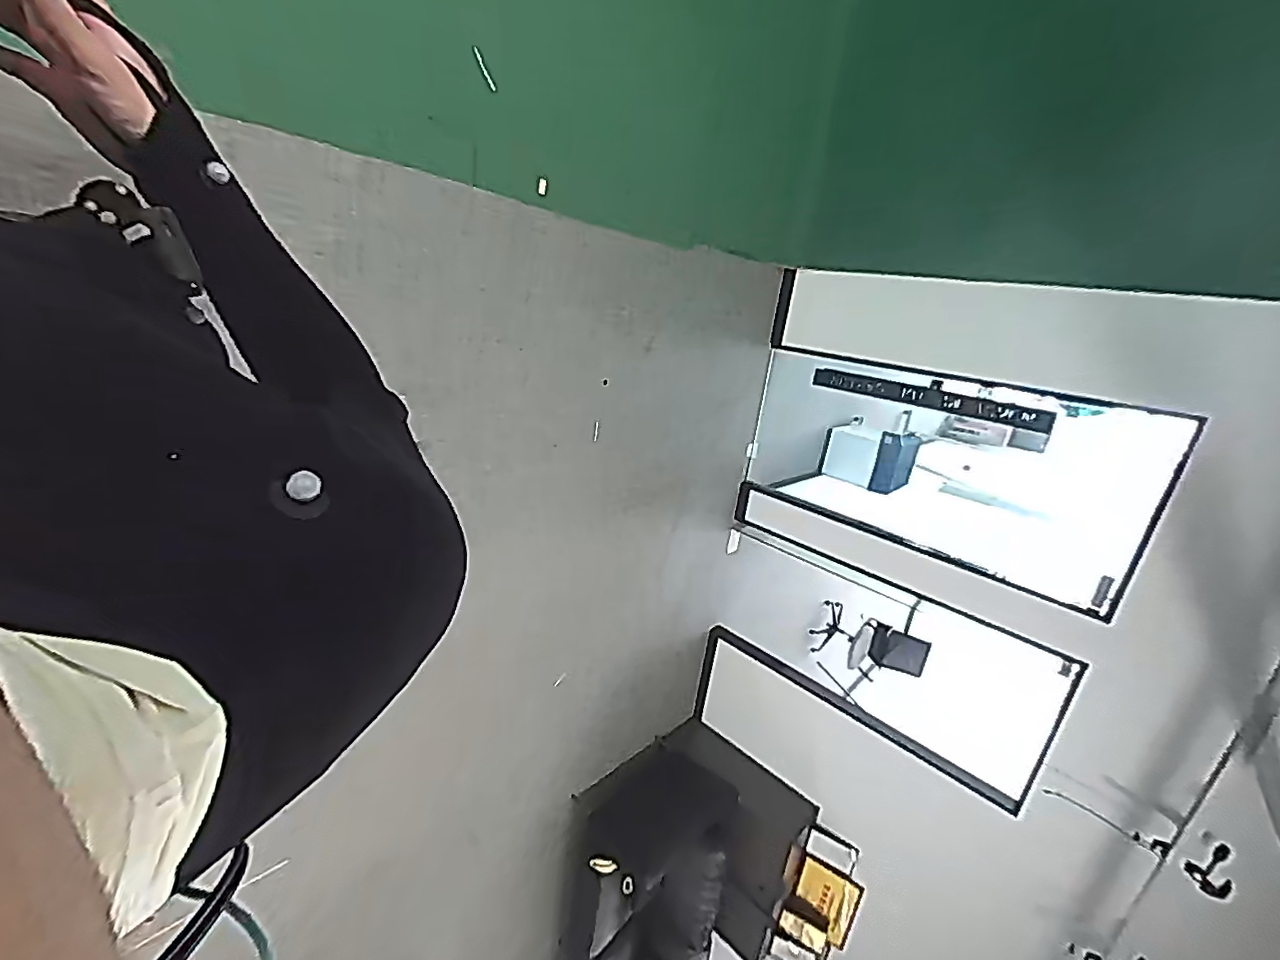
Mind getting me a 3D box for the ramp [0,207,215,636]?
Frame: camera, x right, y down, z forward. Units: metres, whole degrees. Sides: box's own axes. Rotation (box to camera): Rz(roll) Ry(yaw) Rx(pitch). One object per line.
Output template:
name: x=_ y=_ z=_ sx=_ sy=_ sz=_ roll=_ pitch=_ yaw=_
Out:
ramp: x=-1.303 y=-0.082 z=1.230 sx=0.509 sy=0.206 sz=0.991 roll=-15 pitch=119 yaw=-46
